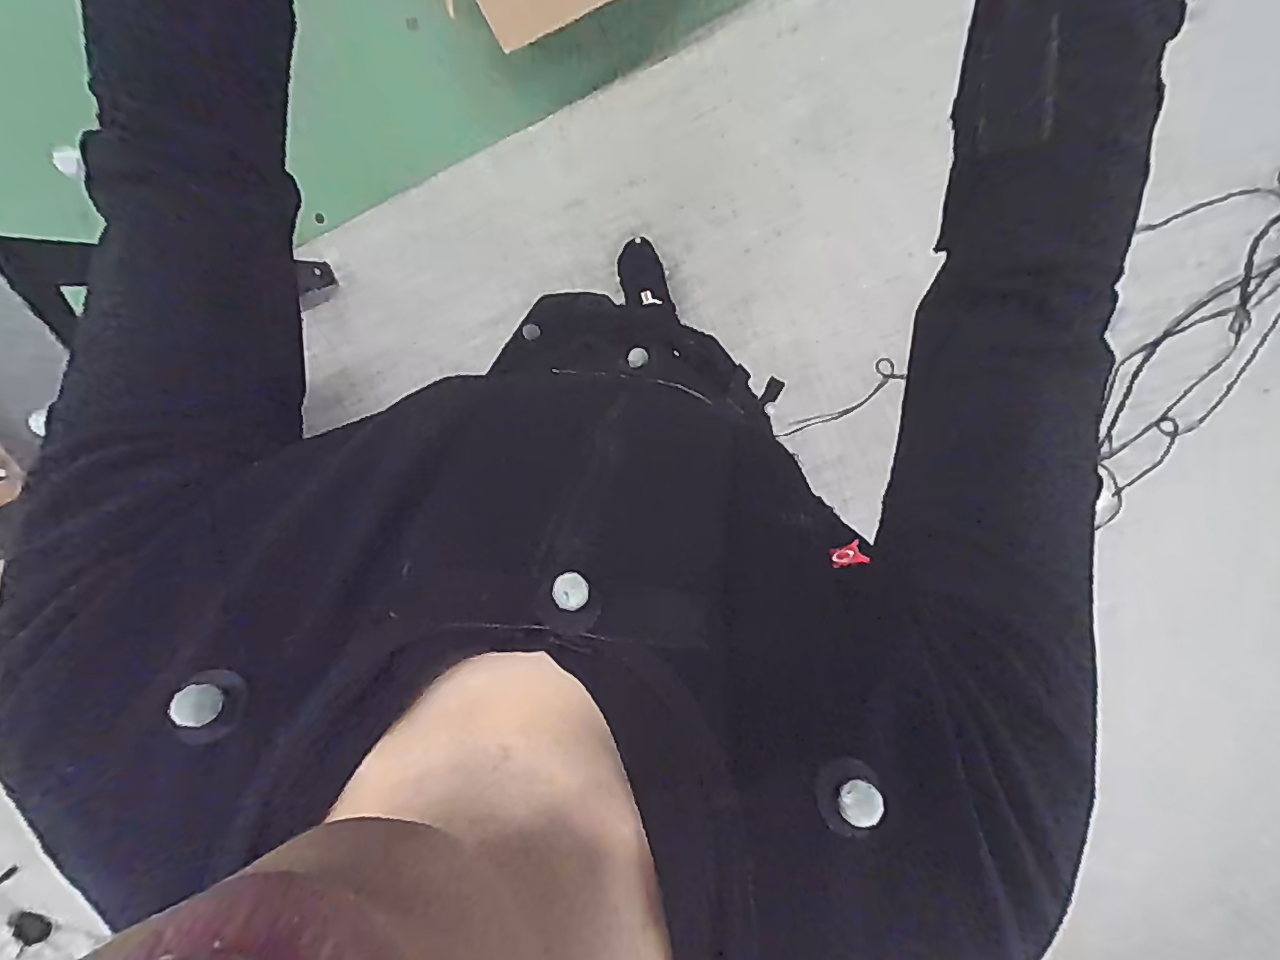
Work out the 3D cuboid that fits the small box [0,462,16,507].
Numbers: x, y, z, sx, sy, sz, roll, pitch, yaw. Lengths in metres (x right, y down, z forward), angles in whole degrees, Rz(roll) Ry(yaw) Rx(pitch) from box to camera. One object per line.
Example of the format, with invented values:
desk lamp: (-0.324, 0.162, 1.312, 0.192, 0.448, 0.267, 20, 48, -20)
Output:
small box: (-1.005, 0.002, 0.708, 0.179, 0.176, 0.168, -21, 106, 12)
